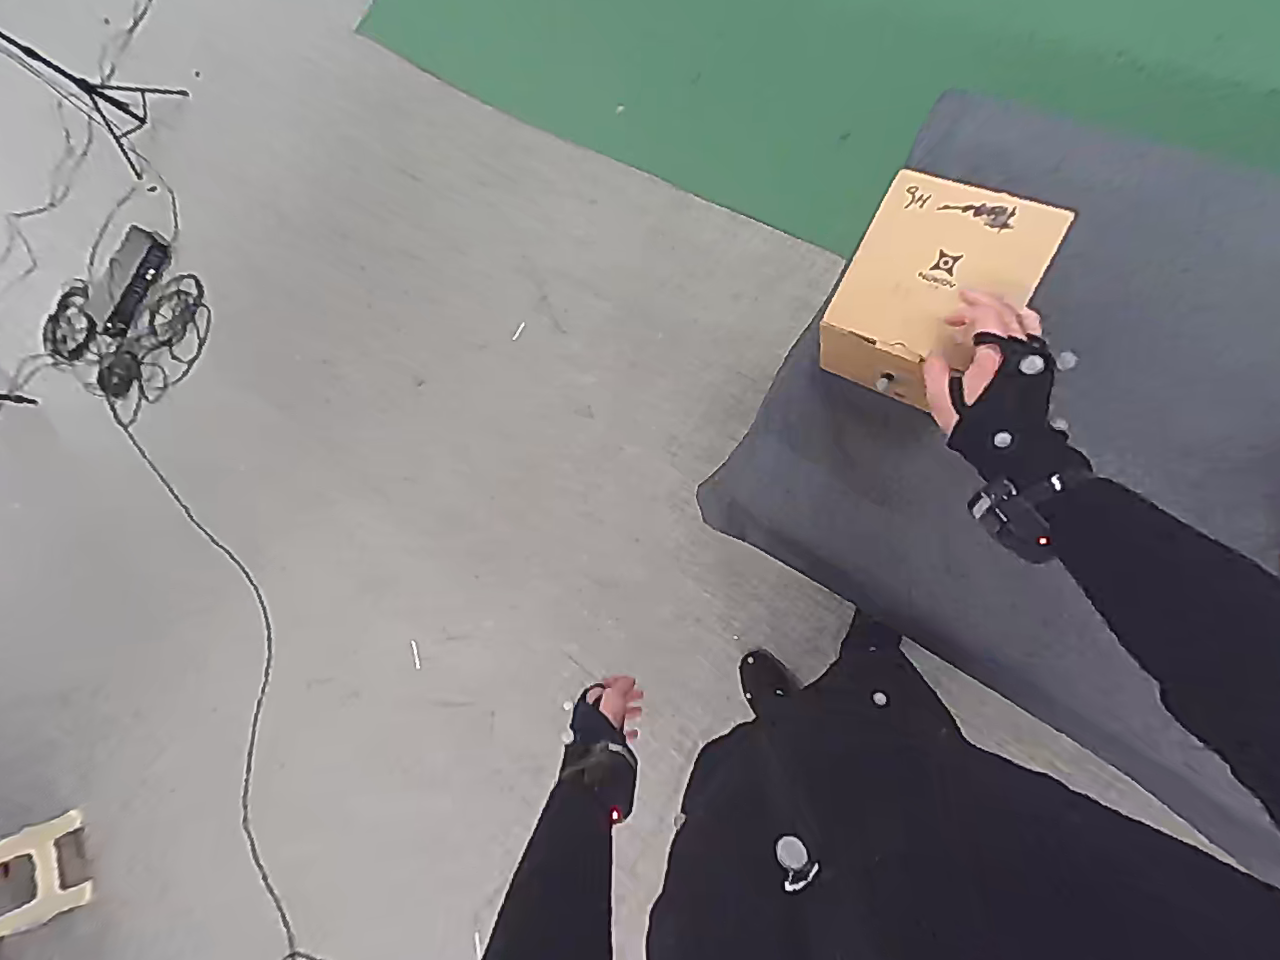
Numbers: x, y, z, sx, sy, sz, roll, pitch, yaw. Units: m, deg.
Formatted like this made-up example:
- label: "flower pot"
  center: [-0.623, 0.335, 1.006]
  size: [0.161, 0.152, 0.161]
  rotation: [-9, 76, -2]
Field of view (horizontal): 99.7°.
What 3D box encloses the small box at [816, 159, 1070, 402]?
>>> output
- label: "small box"
  center: [0.315, -0.205, 0.600]
  size: [0.168, 0.176, 0.179]
  rotation: [29, 96, 19]
